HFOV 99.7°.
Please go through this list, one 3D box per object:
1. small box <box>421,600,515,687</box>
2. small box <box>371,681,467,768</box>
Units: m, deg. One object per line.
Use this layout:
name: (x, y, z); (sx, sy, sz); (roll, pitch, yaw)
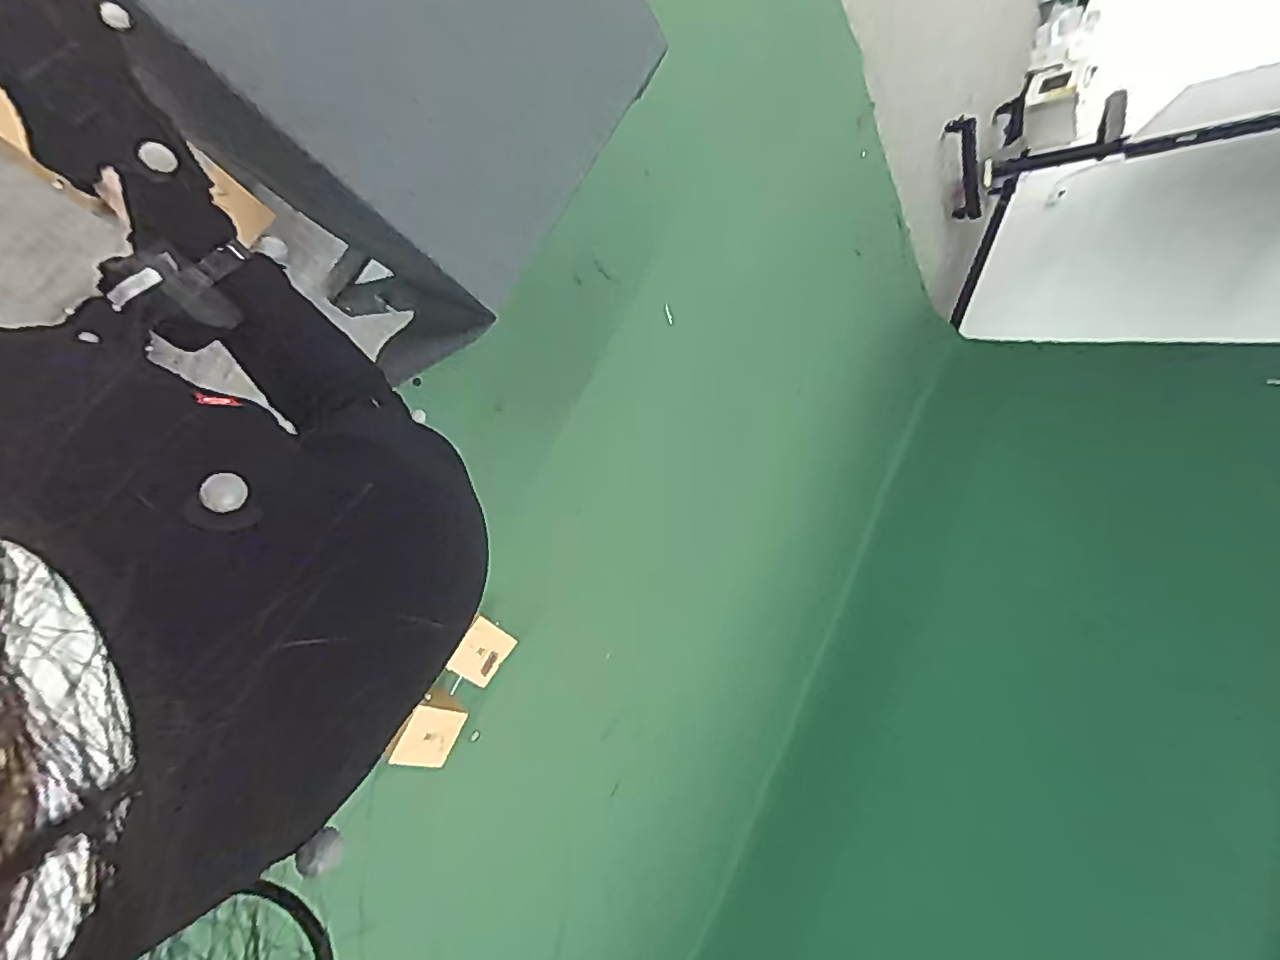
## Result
small box: (-0.523, 0.491, 1.642); (0.168, 0.176, 0.179); (-55, 131, -20)
small box: (-0.648, 0.707, 1.574); (0.179, 0.176, 0.168); (36, 76, -44)
